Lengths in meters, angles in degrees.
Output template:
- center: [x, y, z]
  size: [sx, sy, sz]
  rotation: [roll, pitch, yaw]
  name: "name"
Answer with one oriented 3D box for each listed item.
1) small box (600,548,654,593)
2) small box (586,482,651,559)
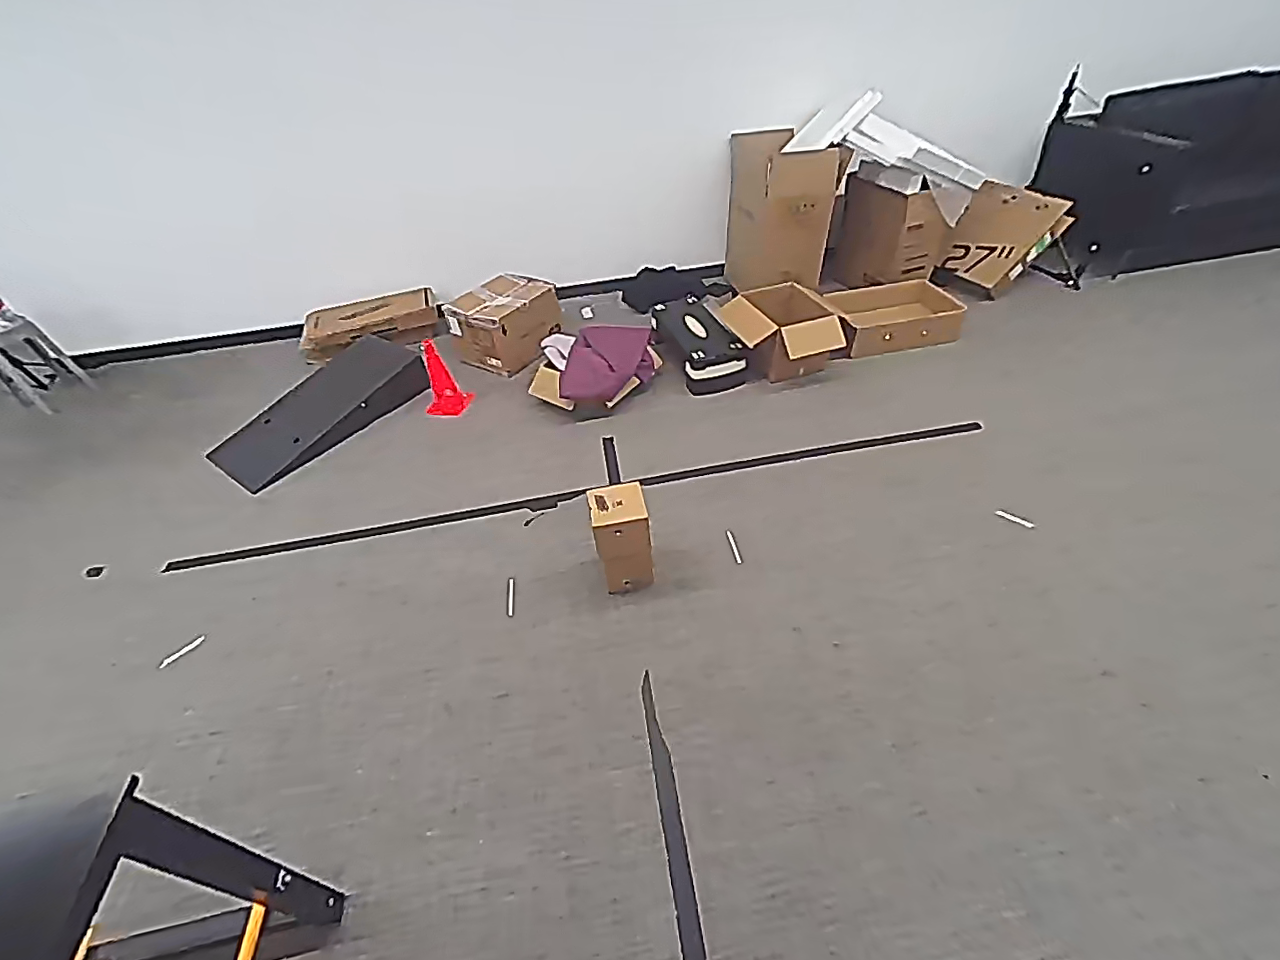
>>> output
- center: [-0.055, 0.254, 1.845]
  size: [0.168, 0.176, 0.179]
  rotation: [-14, 44, -7]
  name: "small box"
- center: [-0.068, 0.133, 1.734]
  size: [0.179, 0.176, 0.168]
  rotation: [-10, 43, -4]
  name: "small box"
